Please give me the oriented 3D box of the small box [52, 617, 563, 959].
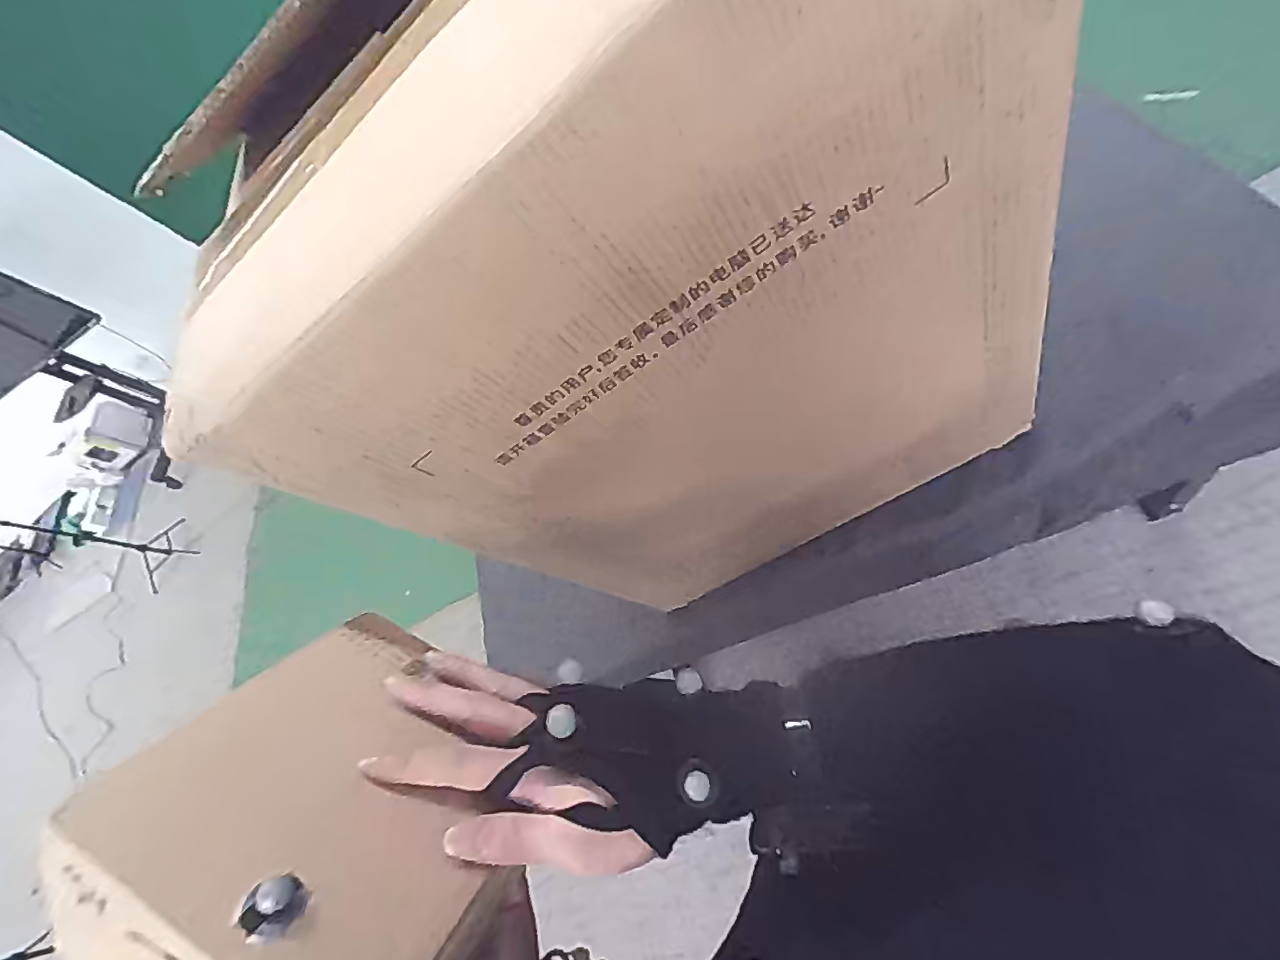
[{"bbox_3d":[-0.165,0.217,0.308,0.168,0.176,0.179,26,115,13],"label":"small box"}]
